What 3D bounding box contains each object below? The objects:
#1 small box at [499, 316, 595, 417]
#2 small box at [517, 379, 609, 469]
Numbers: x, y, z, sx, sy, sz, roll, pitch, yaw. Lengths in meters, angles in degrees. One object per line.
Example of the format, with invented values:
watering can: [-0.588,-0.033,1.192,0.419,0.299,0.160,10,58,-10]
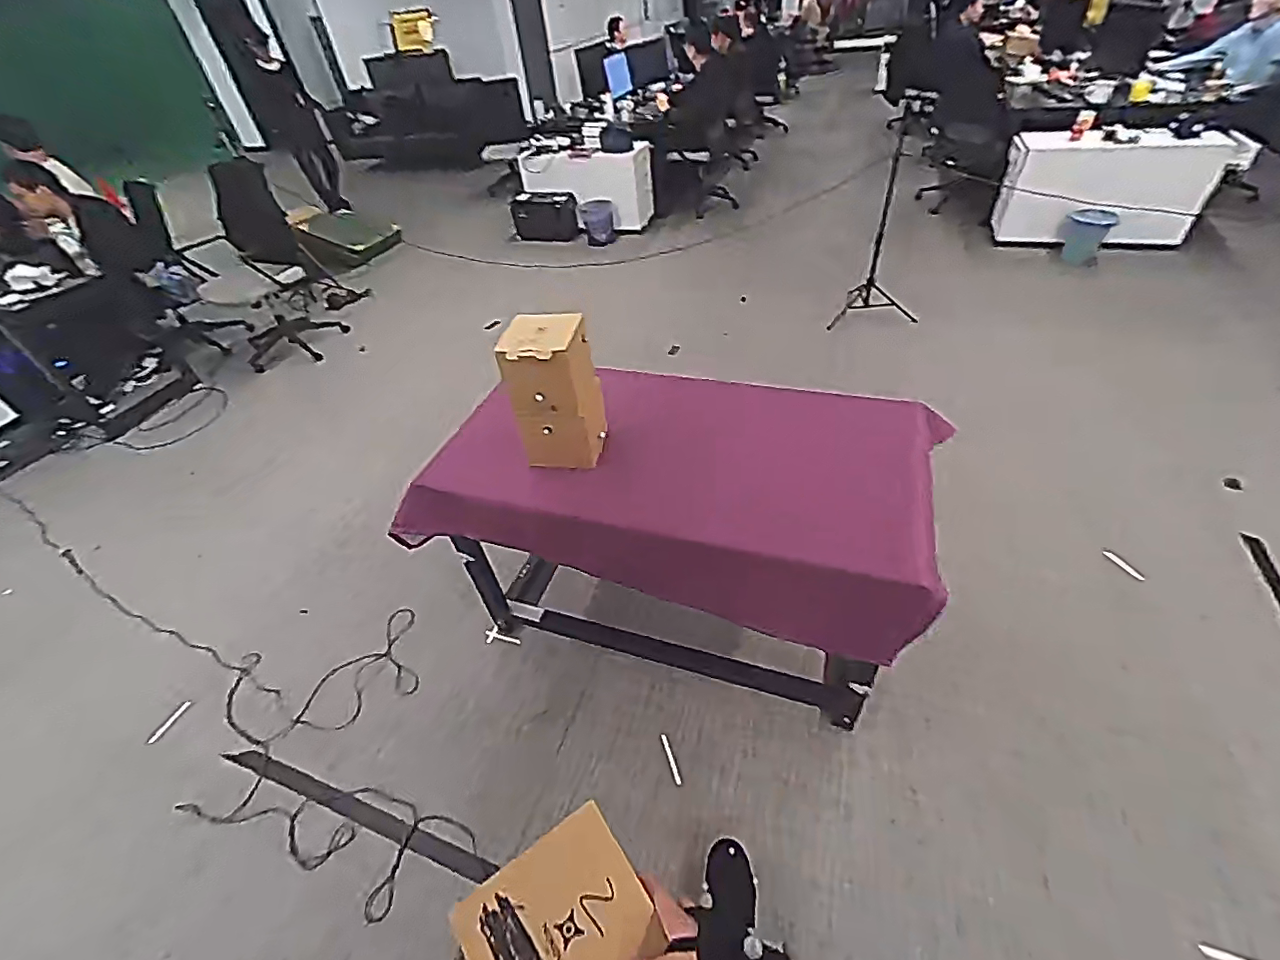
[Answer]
small box: [-0.207,-0.268,1.266,0.168,0.176,0.179,2,44,10]
small box: [-0.186,-0.144,1.373,0.179,0.176,0.168,4,44,10]
